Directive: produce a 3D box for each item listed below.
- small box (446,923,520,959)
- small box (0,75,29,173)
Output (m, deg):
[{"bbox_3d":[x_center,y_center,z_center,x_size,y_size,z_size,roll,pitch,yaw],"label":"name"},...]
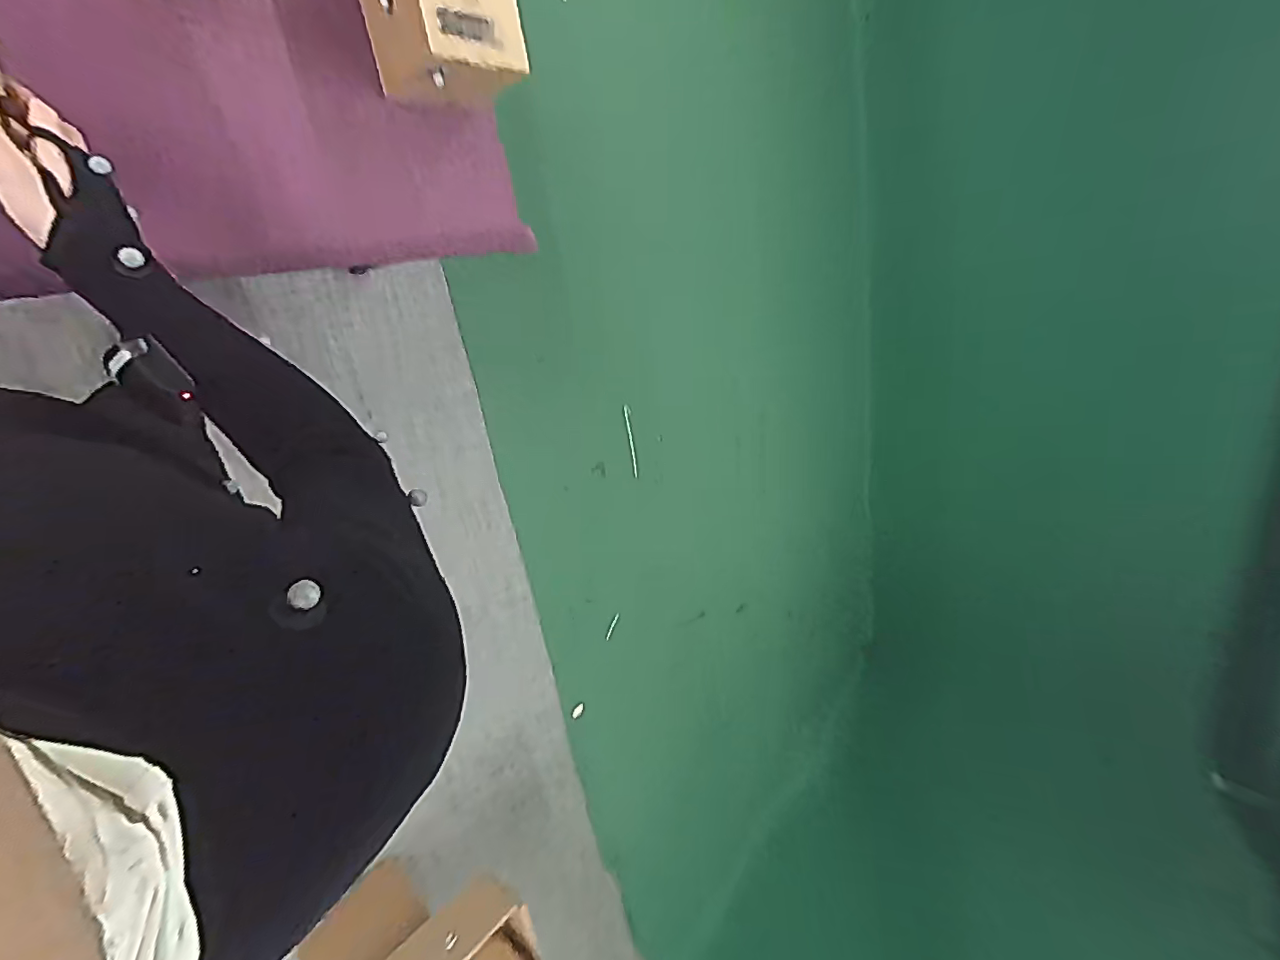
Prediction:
[{"bbox_3d":[-0.434,1.416,1.521,0.168,0.176,0.179,-26,115,-42],"label":"small box"},{"bbox_3d":[-0.591,-0.336,0.381,0.168,0.176,0.179,-19,110,-37],"label":"small box"}]
